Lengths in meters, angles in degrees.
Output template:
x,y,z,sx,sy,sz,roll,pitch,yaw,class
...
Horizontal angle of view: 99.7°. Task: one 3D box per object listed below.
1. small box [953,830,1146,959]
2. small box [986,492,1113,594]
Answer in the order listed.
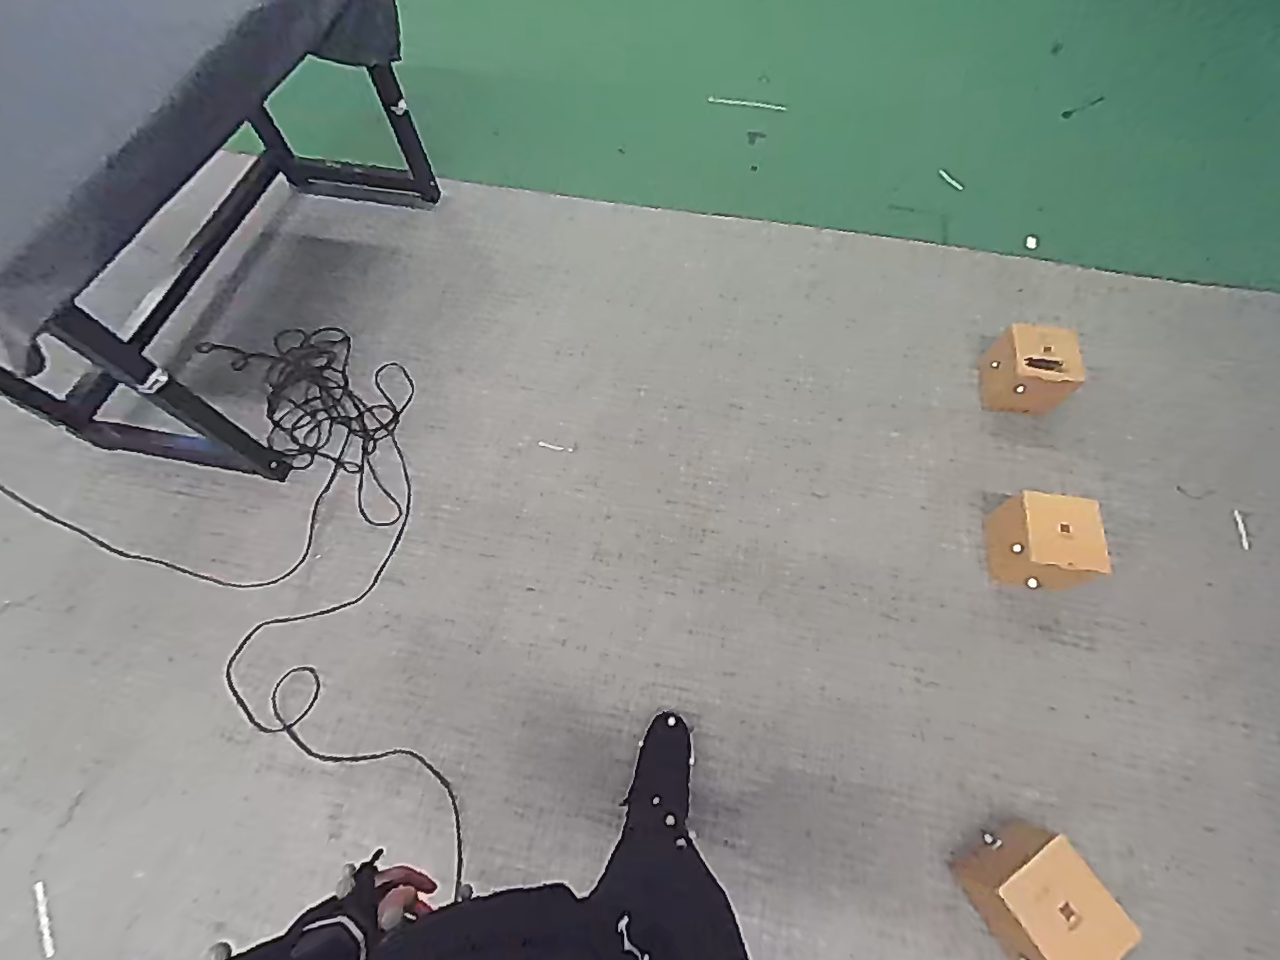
x,y,z,sx,sy,sz,roll,pitch,yaw,class
0.716,0.766,0.968,0.168,0.176,0.179,-28,67,-13,small box
0.937,0.150,1.259,0.168,0.176,0.179,8,65,5,small box
